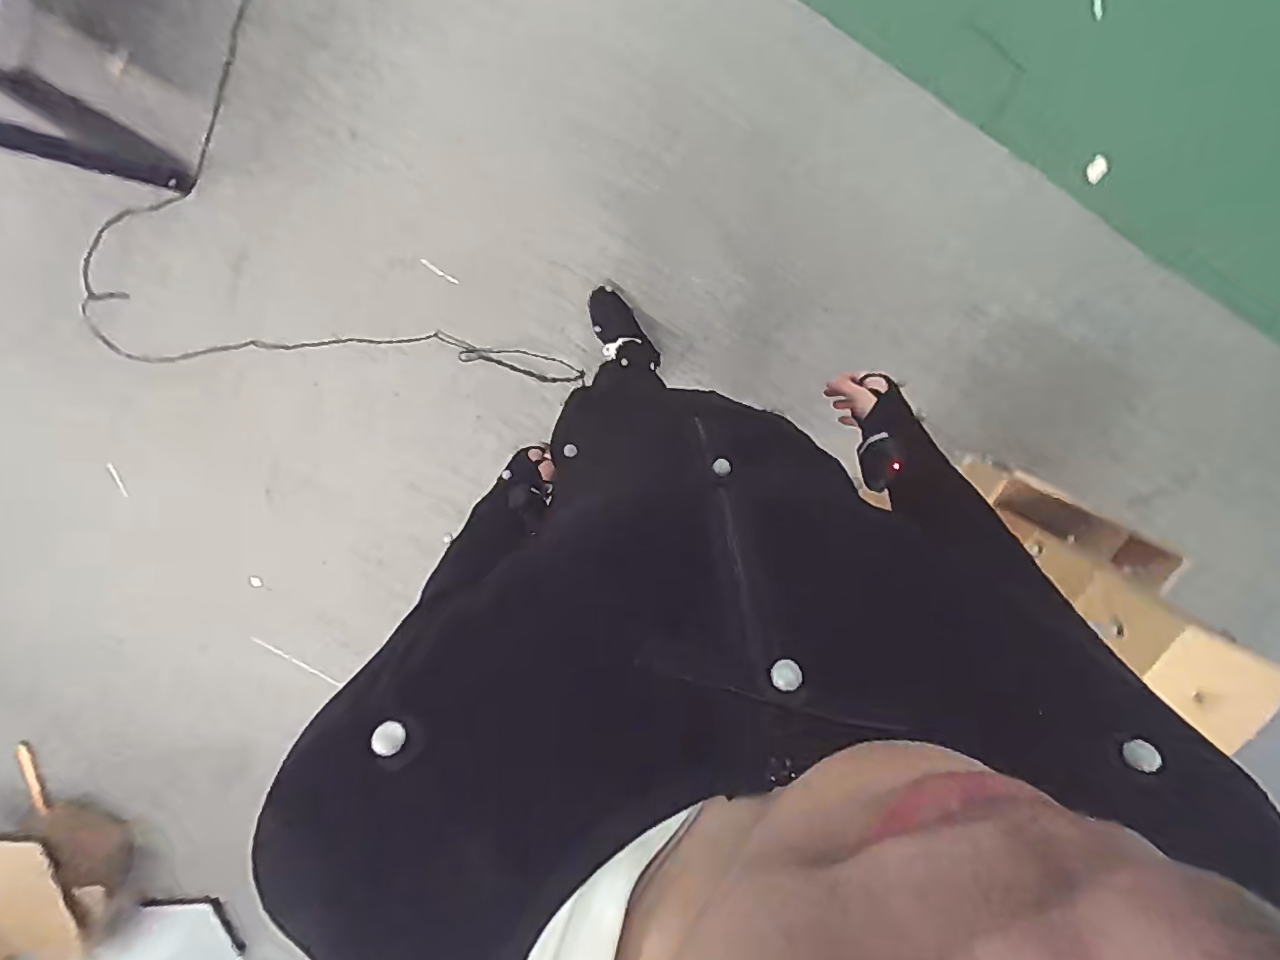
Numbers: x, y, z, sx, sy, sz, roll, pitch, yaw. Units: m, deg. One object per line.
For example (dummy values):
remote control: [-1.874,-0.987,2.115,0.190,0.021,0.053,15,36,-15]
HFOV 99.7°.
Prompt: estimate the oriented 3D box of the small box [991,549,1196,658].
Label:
small box: [0.766,0.241,0.940,0.179,0.176,0.168,27,106,-3]
